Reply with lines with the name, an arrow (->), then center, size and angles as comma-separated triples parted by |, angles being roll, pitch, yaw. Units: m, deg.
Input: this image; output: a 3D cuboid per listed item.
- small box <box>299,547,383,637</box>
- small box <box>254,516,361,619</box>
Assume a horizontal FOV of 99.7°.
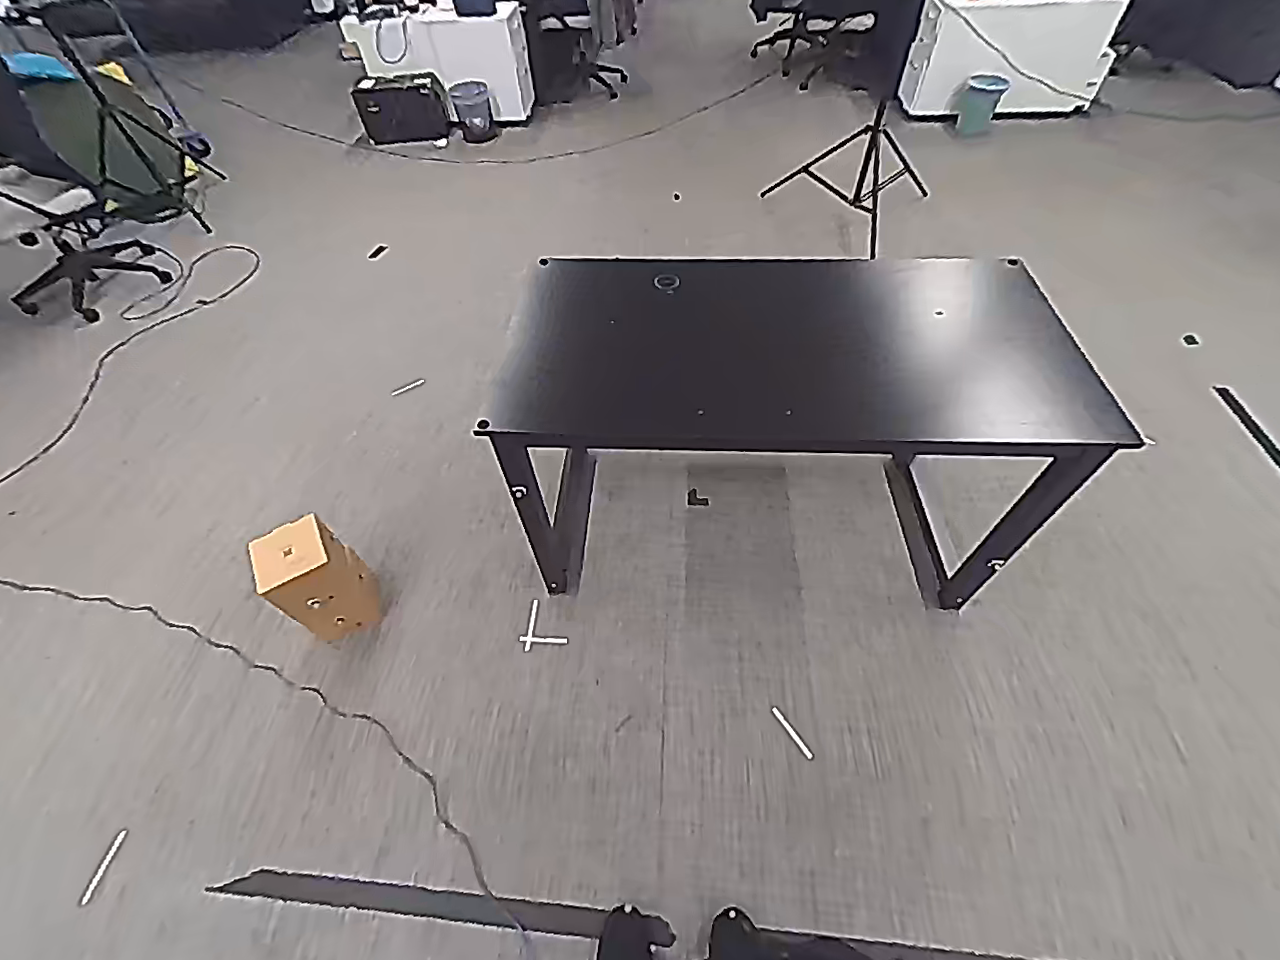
small box -> -0.864, 0.330, 1.558 | 0.168, 0.176, 0.179 | -23, 54, -16
small box -> -0.873, 0.233, 1.427 | 0.168, 0.176, 0.179 | -29, 57, -17
